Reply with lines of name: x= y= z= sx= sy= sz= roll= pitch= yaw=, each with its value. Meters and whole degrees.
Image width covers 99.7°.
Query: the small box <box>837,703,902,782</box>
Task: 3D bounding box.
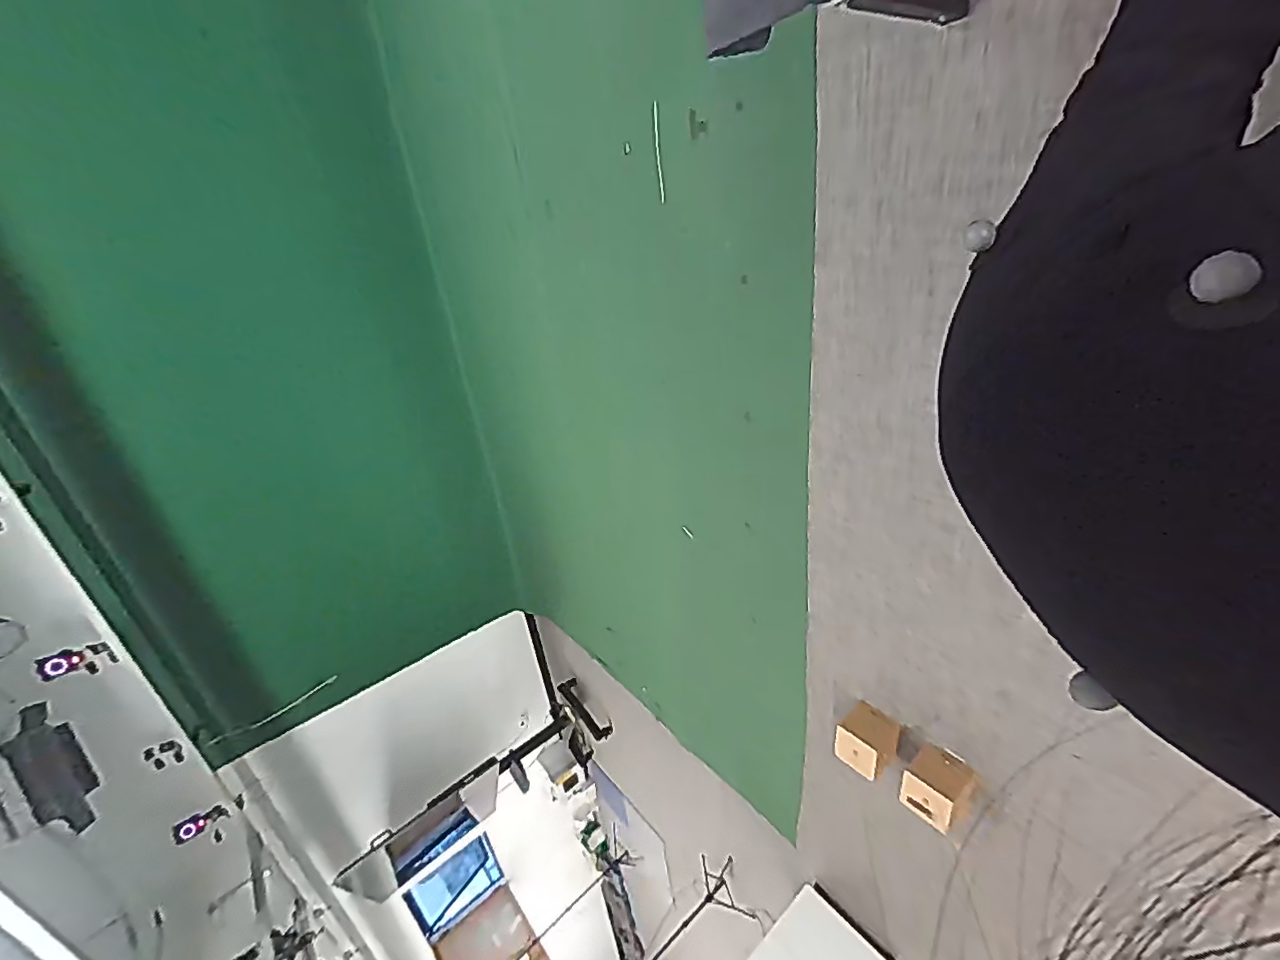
small box: x=0.882 y=1.000 z=2.077 sx=0.168 sy=0.176 sz=0.179 roll=25 pitch=130 yaw=47
